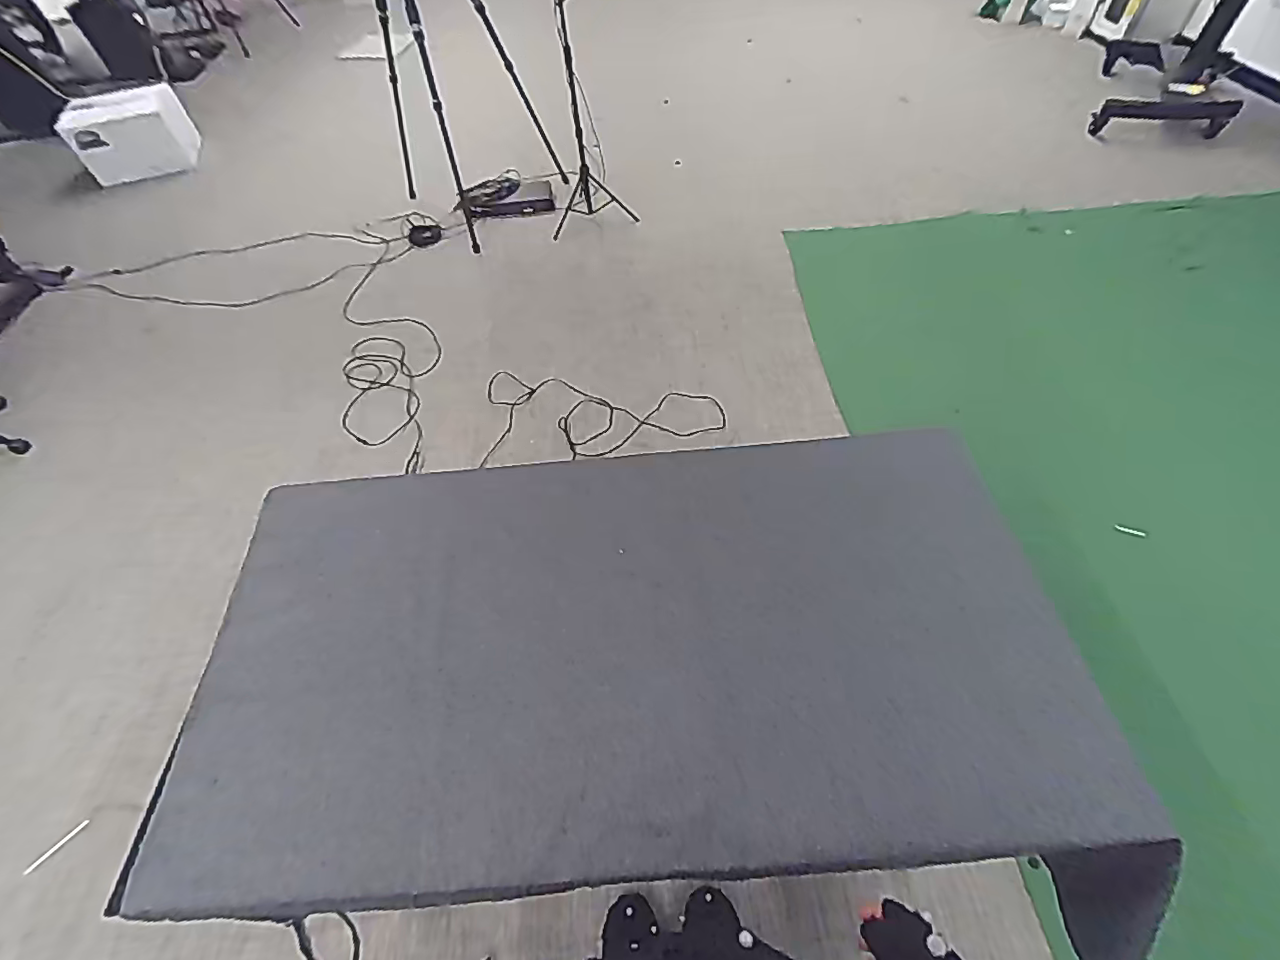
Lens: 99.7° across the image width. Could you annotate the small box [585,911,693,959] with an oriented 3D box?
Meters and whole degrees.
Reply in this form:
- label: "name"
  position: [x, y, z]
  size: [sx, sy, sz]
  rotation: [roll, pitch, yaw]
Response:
- label: "small box"
  position: [-0.013, 0.970, 1.035]
  size: [0.179, 0.176, 0.168]
  rotation: [17, 66, 37]
